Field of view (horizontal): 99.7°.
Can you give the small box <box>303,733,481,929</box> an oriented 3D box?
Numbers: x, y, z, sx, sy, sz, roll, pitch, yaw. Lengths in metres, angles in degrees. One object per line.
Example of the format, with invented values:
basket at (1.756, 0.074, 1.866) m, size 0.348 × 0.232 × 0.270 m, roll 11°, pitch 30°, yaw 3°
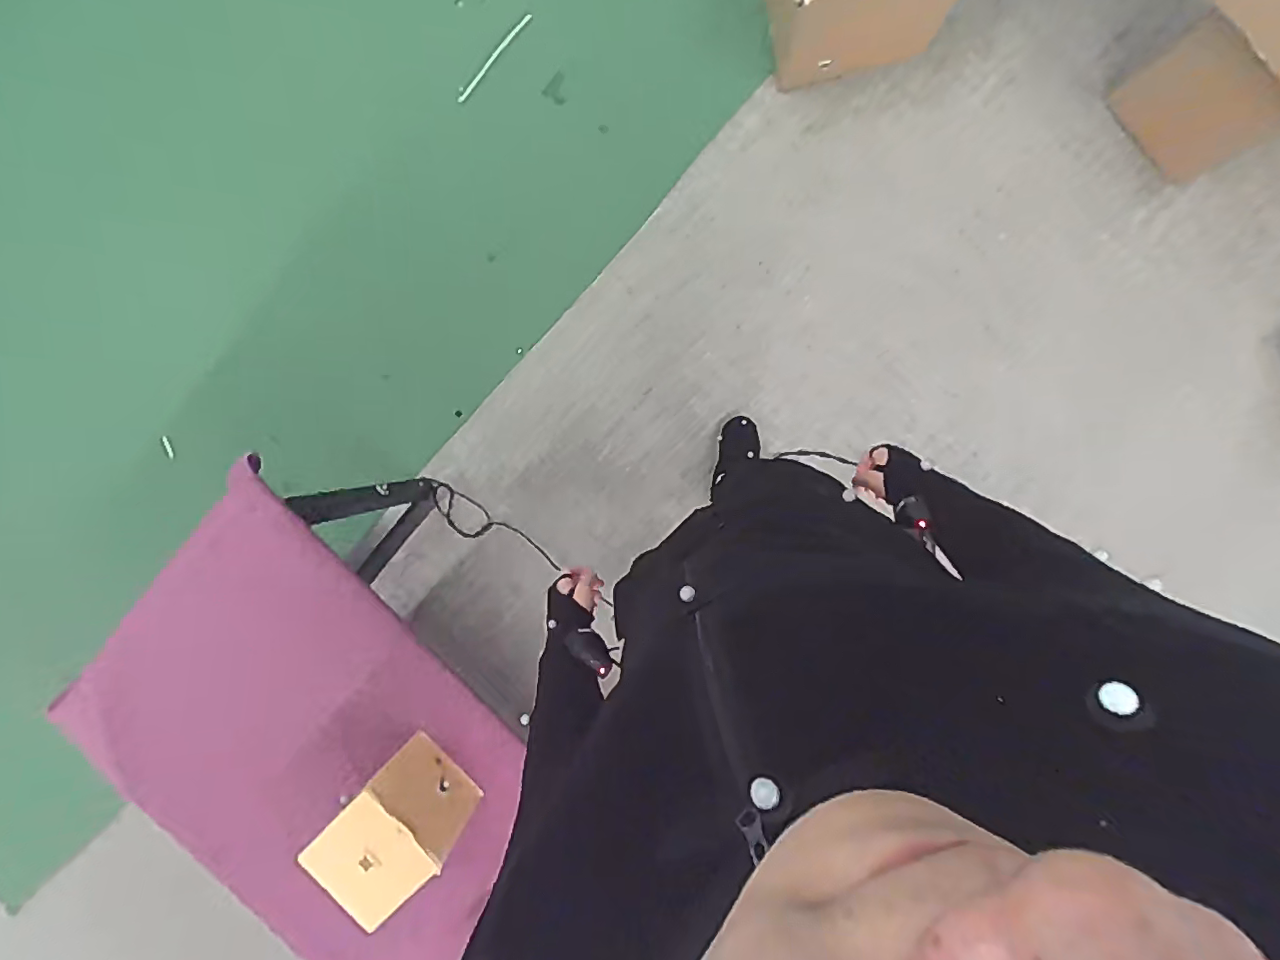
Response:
small box at (-0.402, 0.575, 0.907) m, size 0.168 × 0.176 × 0.179 m, roll 44°, pitch 97°, yaw 1°
